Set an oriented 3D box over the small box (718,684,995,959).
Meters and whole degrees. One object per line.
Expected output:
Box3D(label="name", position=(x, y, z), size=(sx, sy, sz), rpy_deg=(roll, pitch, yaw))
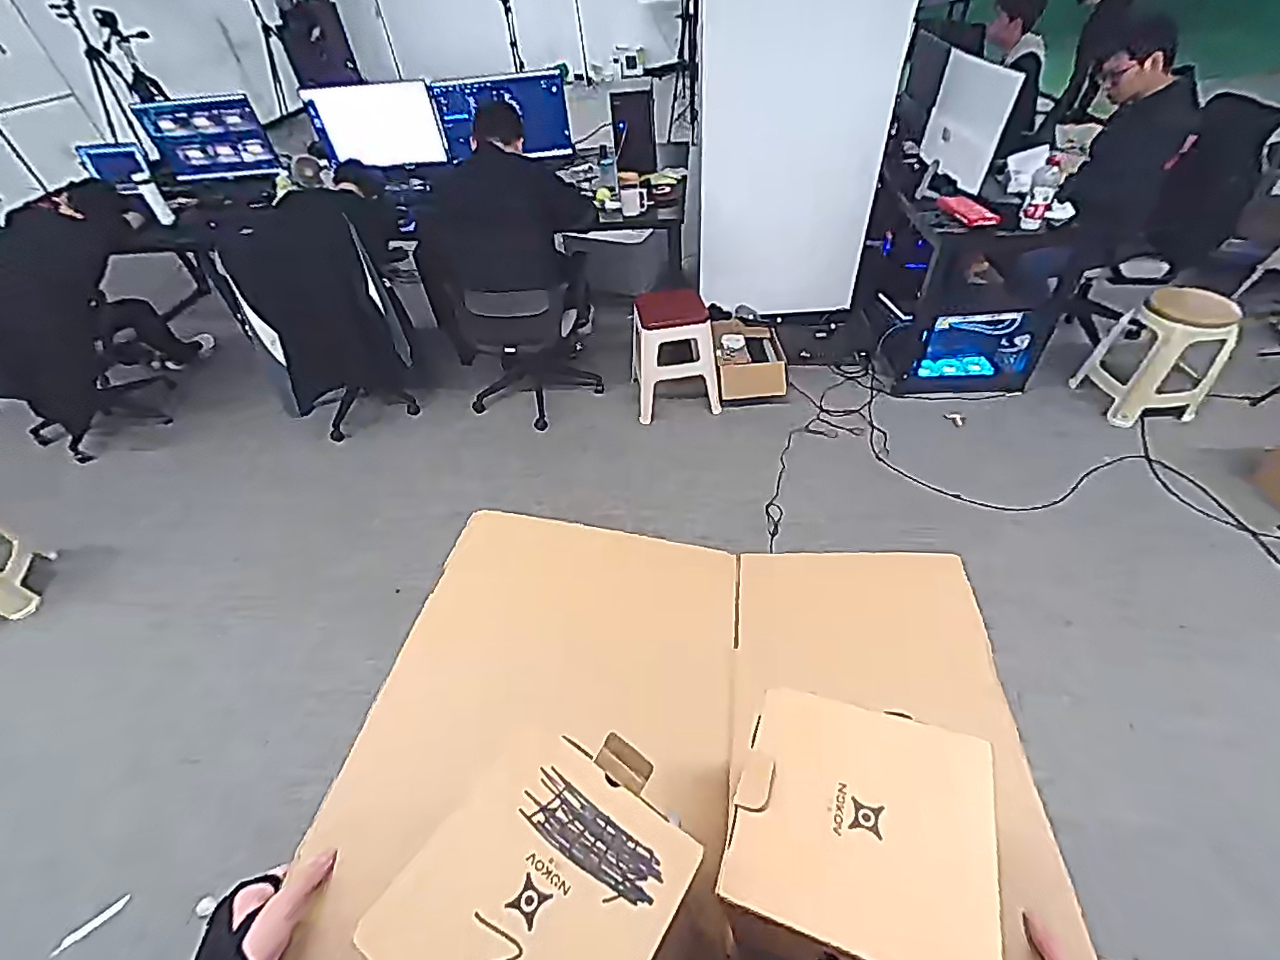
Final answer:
Box3D(label="small box", position=(0.181, 0.308, 0.462), size=(0.179, 0.176, 0.168), rpy_deg=(6, 46, 24))
